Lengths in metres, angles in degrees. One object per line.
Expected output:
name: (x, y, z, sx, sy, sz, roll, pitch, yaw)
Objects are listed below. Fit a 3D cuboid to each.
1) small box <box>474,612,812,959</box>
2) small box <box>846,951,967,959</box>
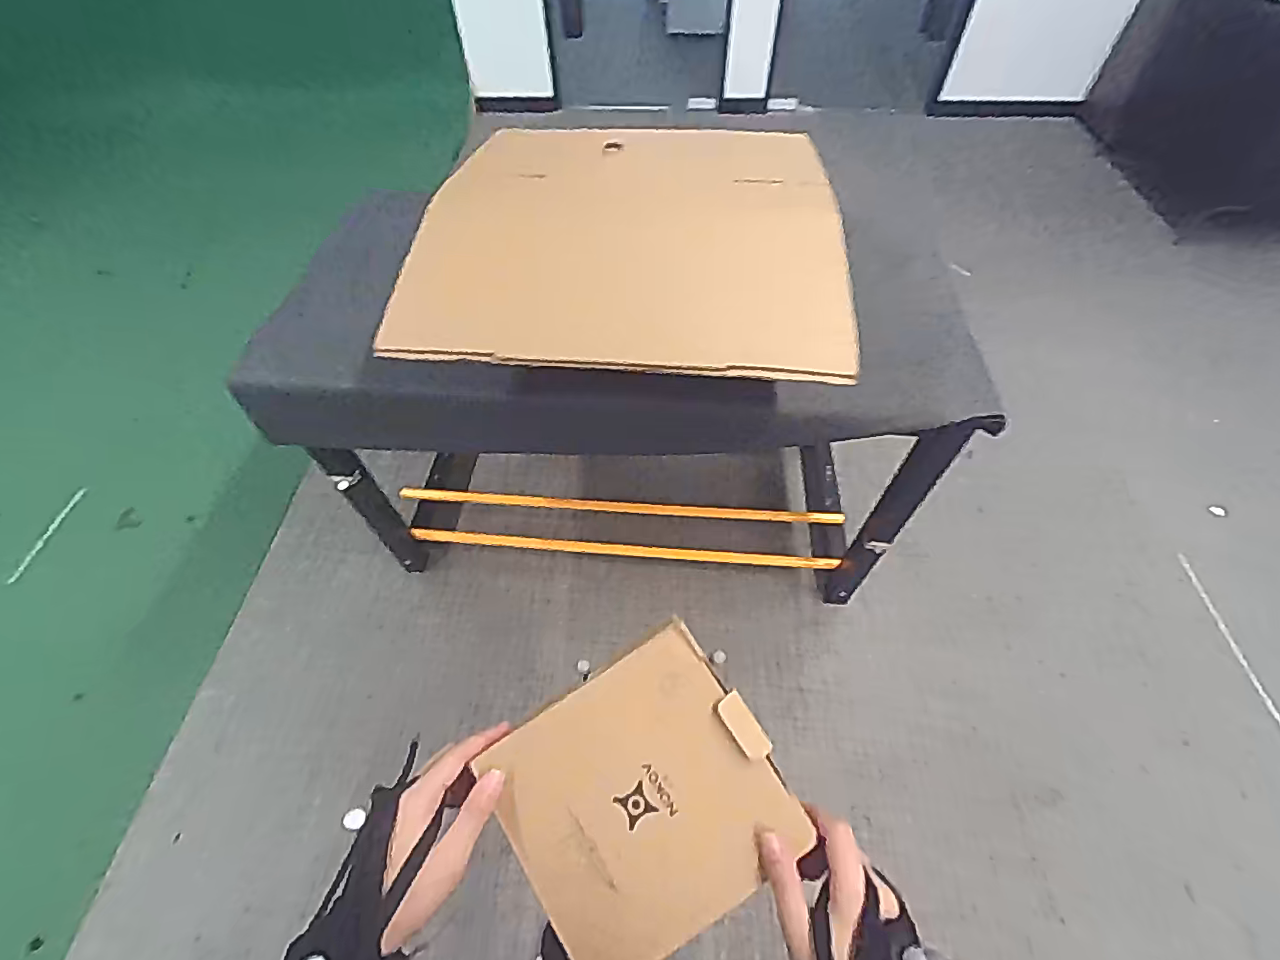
small box: (0.002, 0.221, 0.441, 0.179, 0.176, 0.168, -34, 77, -4)
small box: (0.461, 0.904, 0.898, 0.168, 0.176, 0.179, -2, 54, -1)
